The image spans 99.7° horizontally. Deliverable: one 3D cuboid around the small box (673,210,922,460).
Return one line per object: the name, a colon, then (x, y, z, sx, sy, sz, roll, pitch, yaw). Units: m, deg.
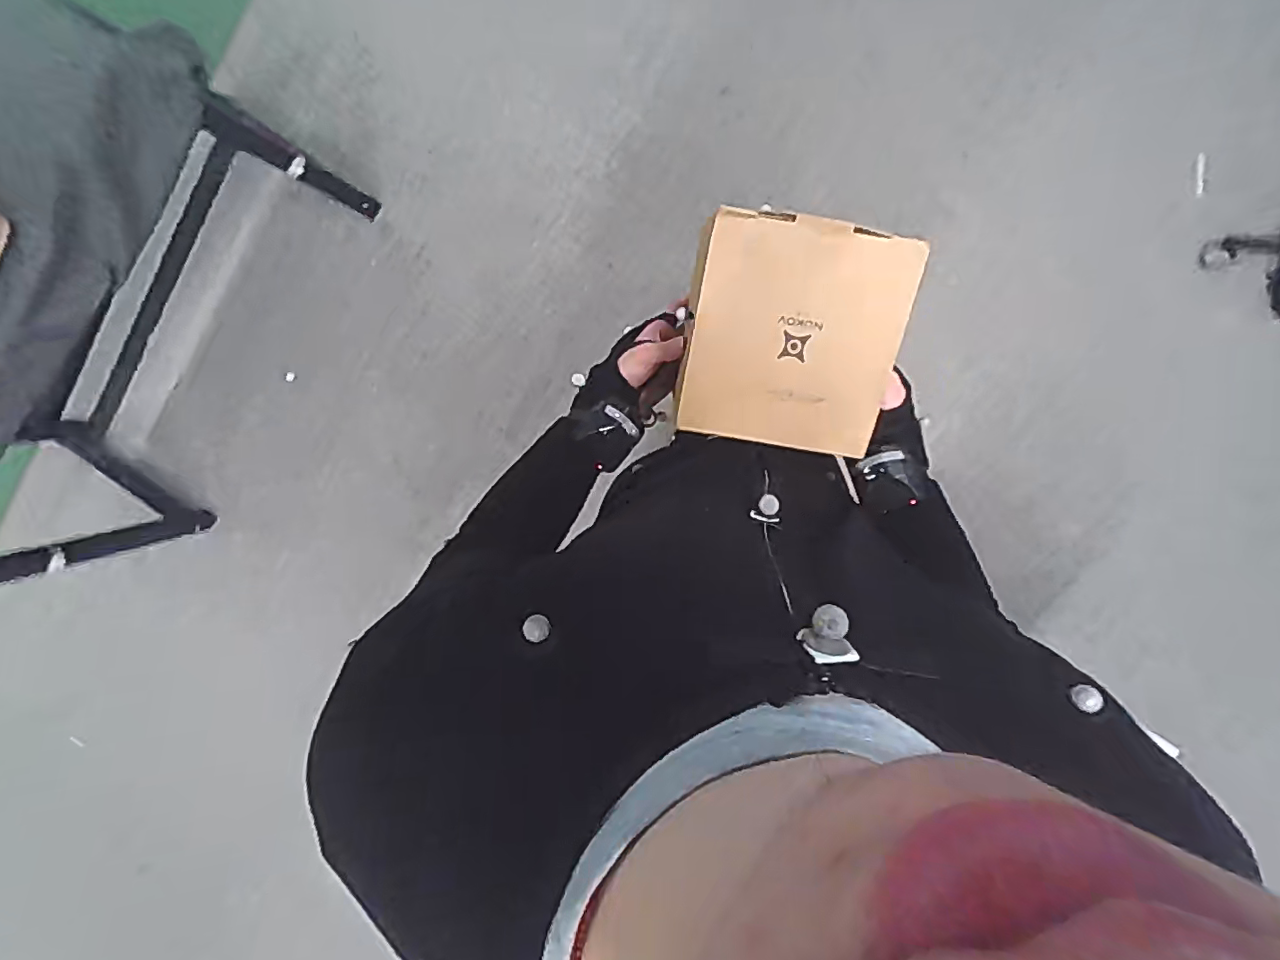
small box: (0.125, -0.137, 0.510, 0.168, 0.176, 0.179, 10, 111, 0)
